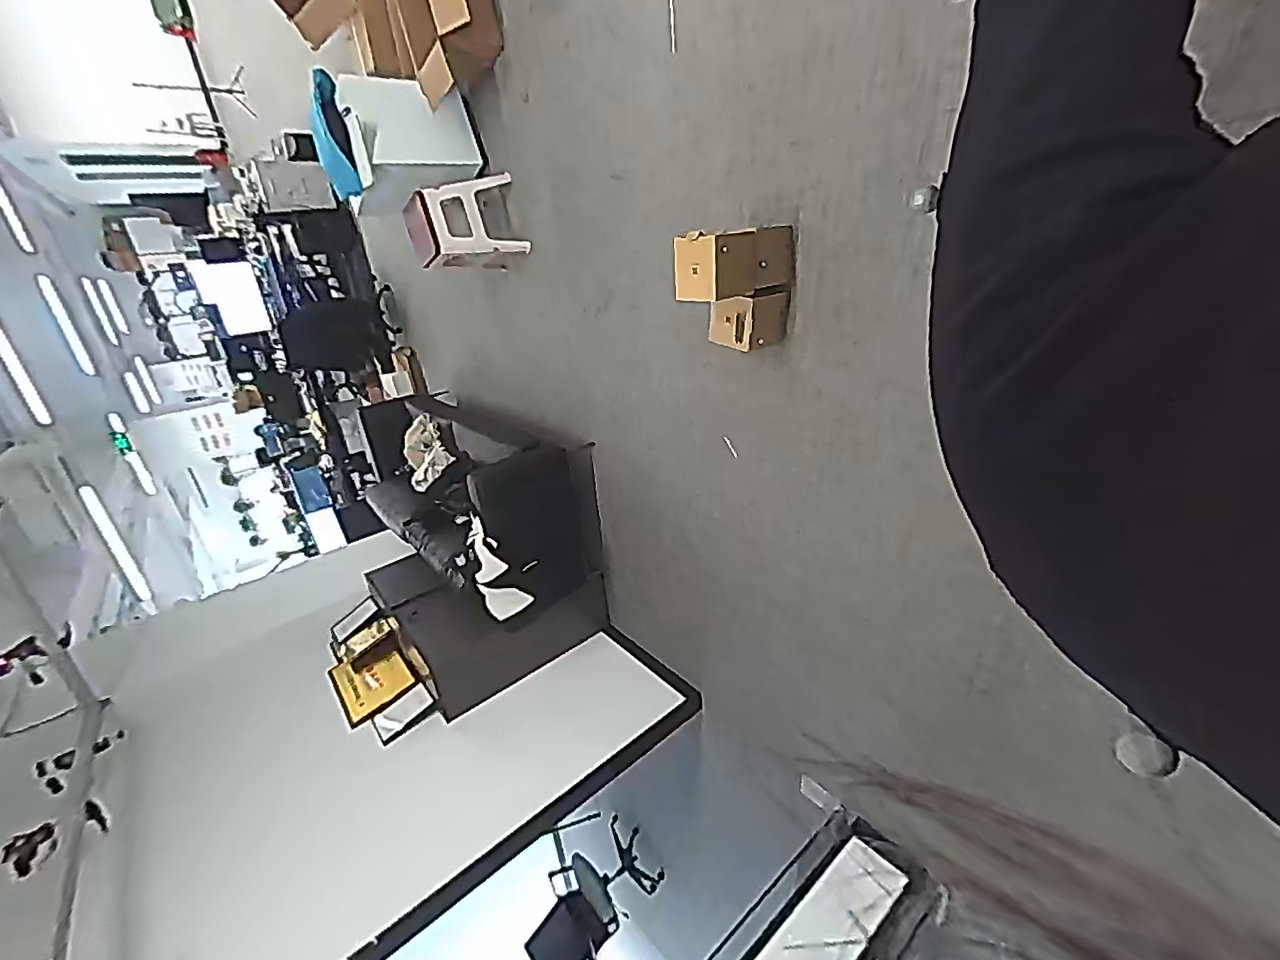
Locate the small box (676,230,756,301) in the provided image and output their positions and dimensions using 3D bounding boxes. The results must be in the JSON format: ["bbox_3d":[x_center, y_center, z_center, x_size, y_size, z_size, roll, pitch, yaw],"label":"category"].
[{"bbox_3d":[0.225,-0.630,1.584,0.168,0.176,0.179,23,126,47],"label":"small box"}]
